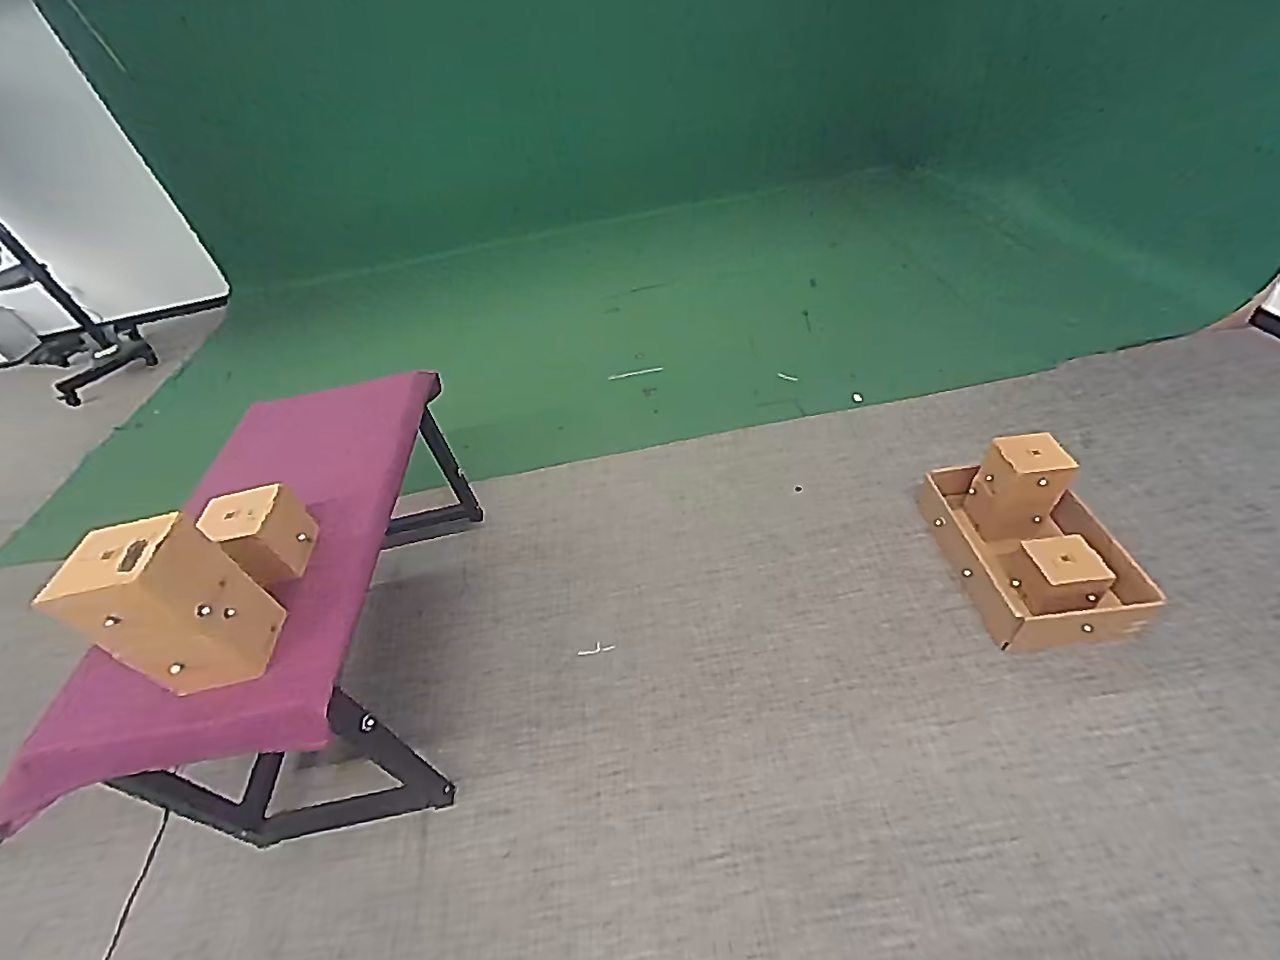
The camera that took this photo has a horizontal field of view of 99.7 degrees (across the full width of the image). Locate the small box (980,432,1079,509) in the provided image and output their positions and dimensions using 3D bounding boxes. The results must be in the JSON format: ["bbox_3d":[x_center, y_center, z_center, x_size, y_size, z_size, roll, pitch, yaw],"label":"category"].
[{"bbox_3d":[1.225,-0.027,1.716,0.179,0.176,0.168,-8,44,4],"label":"small box"}]

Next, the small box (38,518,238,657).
[{"bbox_3d":[-0.899,0.200,0.995,0.179,0.176,0.168,-13,42,1],"label":"small box"}]

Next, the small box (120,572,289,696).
[{"bbox_3d":[-0.872,0.319,1.105,0.179,0.176,0.168,-13,43,1],"label":"small box"}]

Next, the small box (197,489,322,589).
[{"bbox_3d":[-0.909,0.152,1.290,0.179,0.176,0.168,-13,43,0],"label":"small box"}]

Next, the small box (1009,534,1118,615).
[{"bbox_3d":[1.256,0.286,1.619,0.179,0.176,0.168,-9,42,5],"label":"small box"}]
